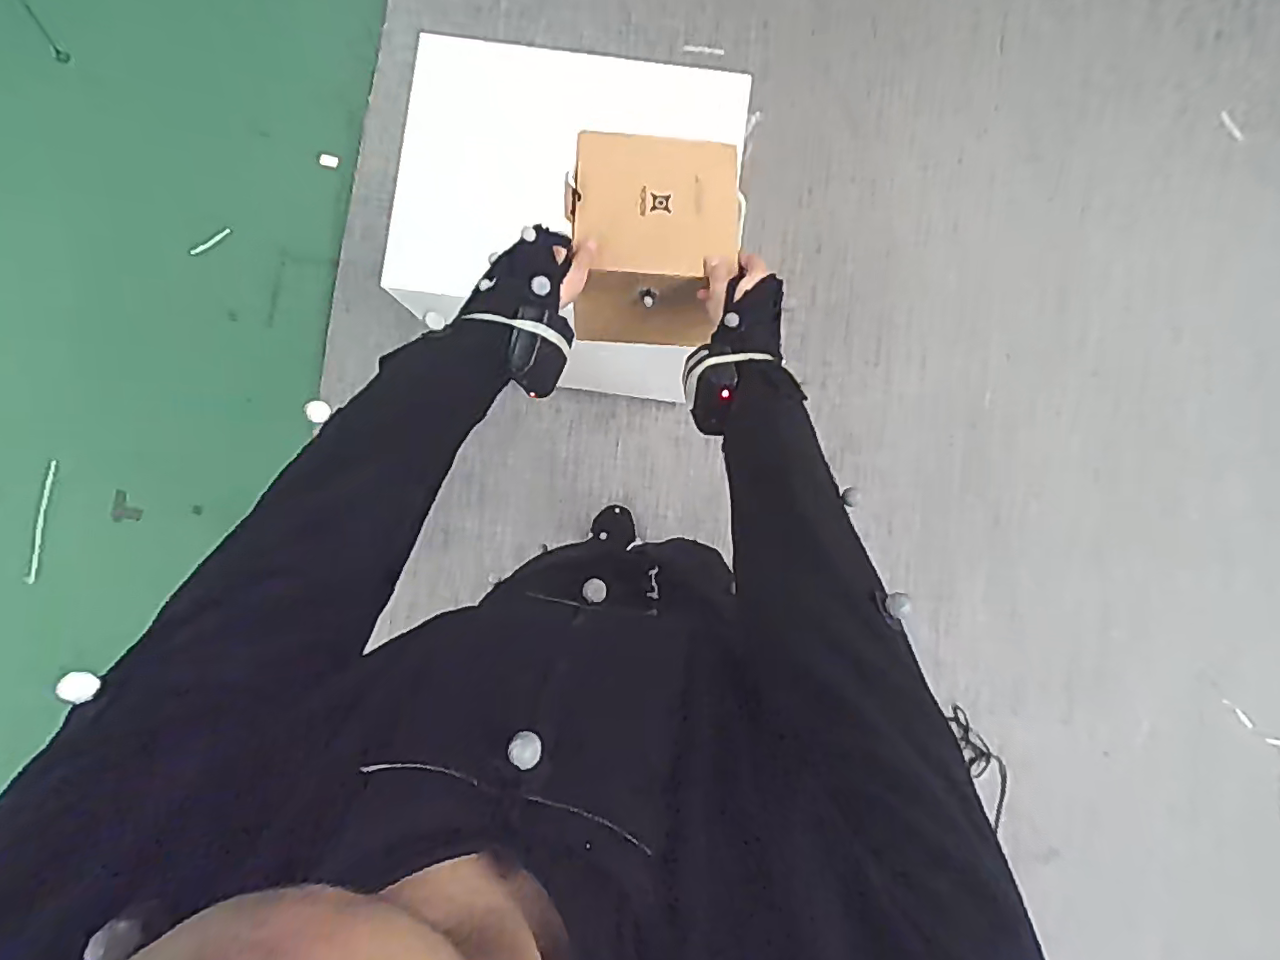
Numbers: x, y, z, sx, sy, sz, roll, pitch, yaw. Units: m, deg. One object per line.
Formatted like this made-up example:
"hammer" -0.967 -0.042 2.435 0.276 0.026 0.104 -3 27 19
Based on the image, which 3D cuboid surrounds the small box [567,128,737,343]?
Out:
"small box" 0.008 -0.275 0.642 0.179 0.176 0.168 2 80 -5
